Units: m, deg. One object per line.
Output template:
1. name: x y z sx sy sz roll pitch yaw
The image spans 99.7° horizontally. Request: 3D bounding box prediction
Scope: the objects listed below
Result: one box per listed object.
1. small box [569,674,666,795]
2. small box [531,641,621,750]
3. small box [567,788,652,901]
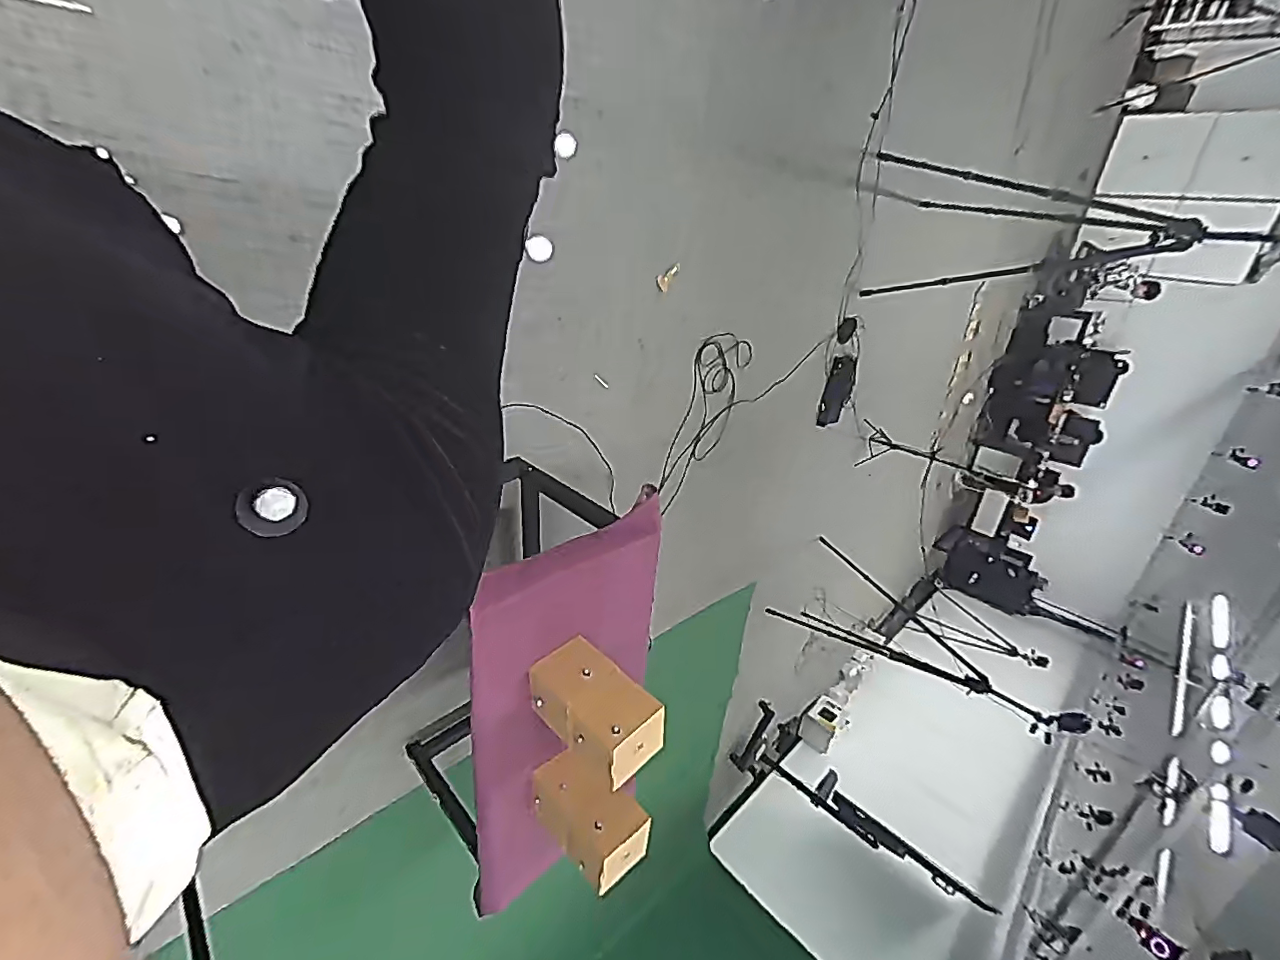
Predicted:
1. small box: -0.056 0.624 1.350 0.179 0.176 0.168 -25 128 -37
2. small box: -0.172 0.566 1.448 0.179 0.176 0.168 -23 126 -39
3. small box: -0.091 1.012 1.525 0.179 0.176 0.168 -16 122 -42
